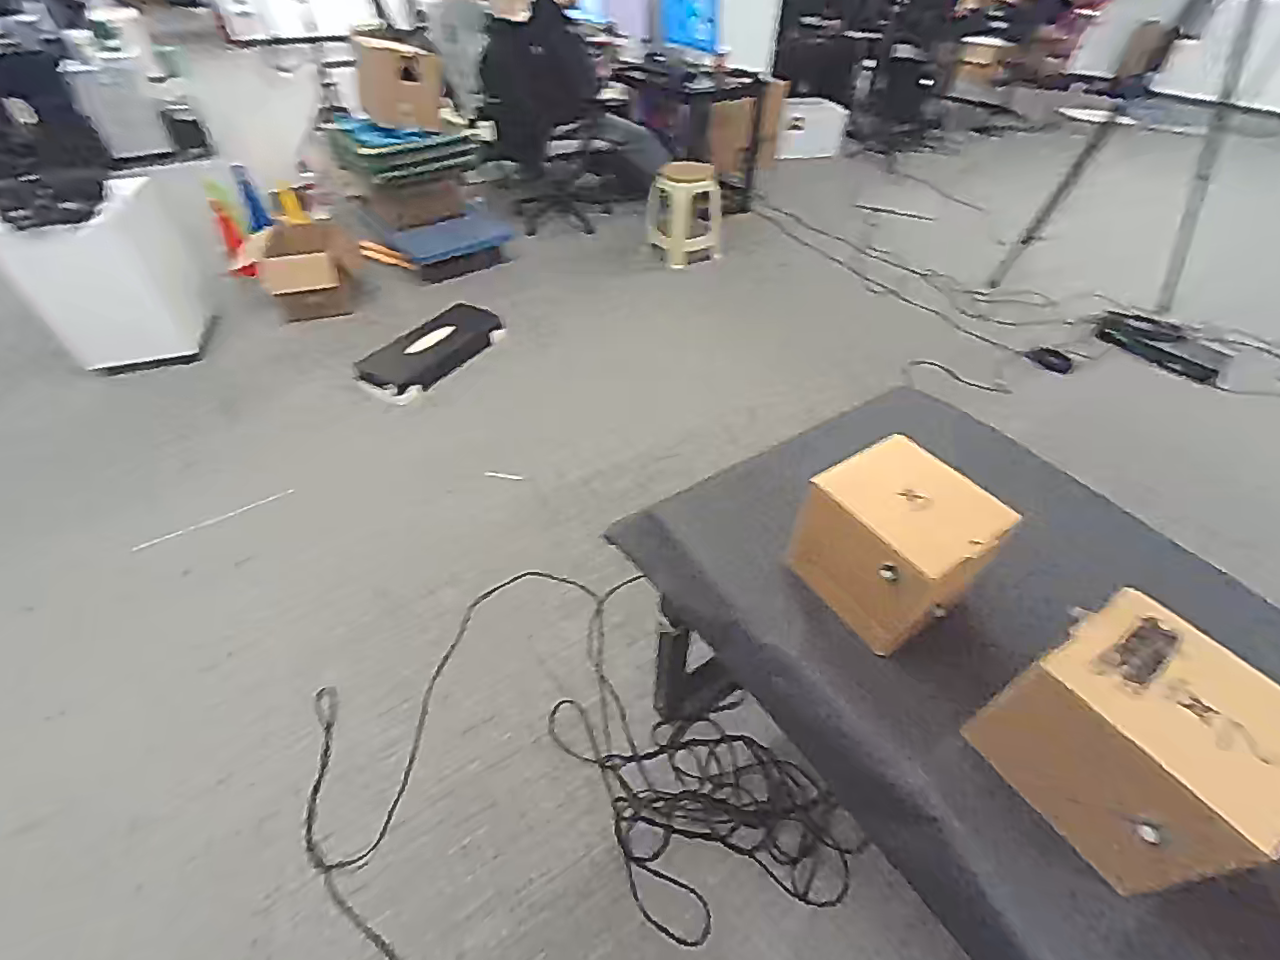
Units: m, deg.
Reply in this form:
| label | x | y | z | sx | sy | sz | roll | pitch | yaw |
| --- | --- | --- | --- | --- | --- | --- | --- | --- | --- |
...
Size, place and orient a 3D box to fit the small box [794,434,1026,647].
| label | x | y | z | sx | sy | sz | roll | pitch | yaw |
| --- | --- | --- | --- | --- | --- | --- | --- | --- | --- |
| small box | 0.325 | 0.076 | 0.691 | 0.168 | 0.176 | 0.179 | -24 | 51 | -23 |
